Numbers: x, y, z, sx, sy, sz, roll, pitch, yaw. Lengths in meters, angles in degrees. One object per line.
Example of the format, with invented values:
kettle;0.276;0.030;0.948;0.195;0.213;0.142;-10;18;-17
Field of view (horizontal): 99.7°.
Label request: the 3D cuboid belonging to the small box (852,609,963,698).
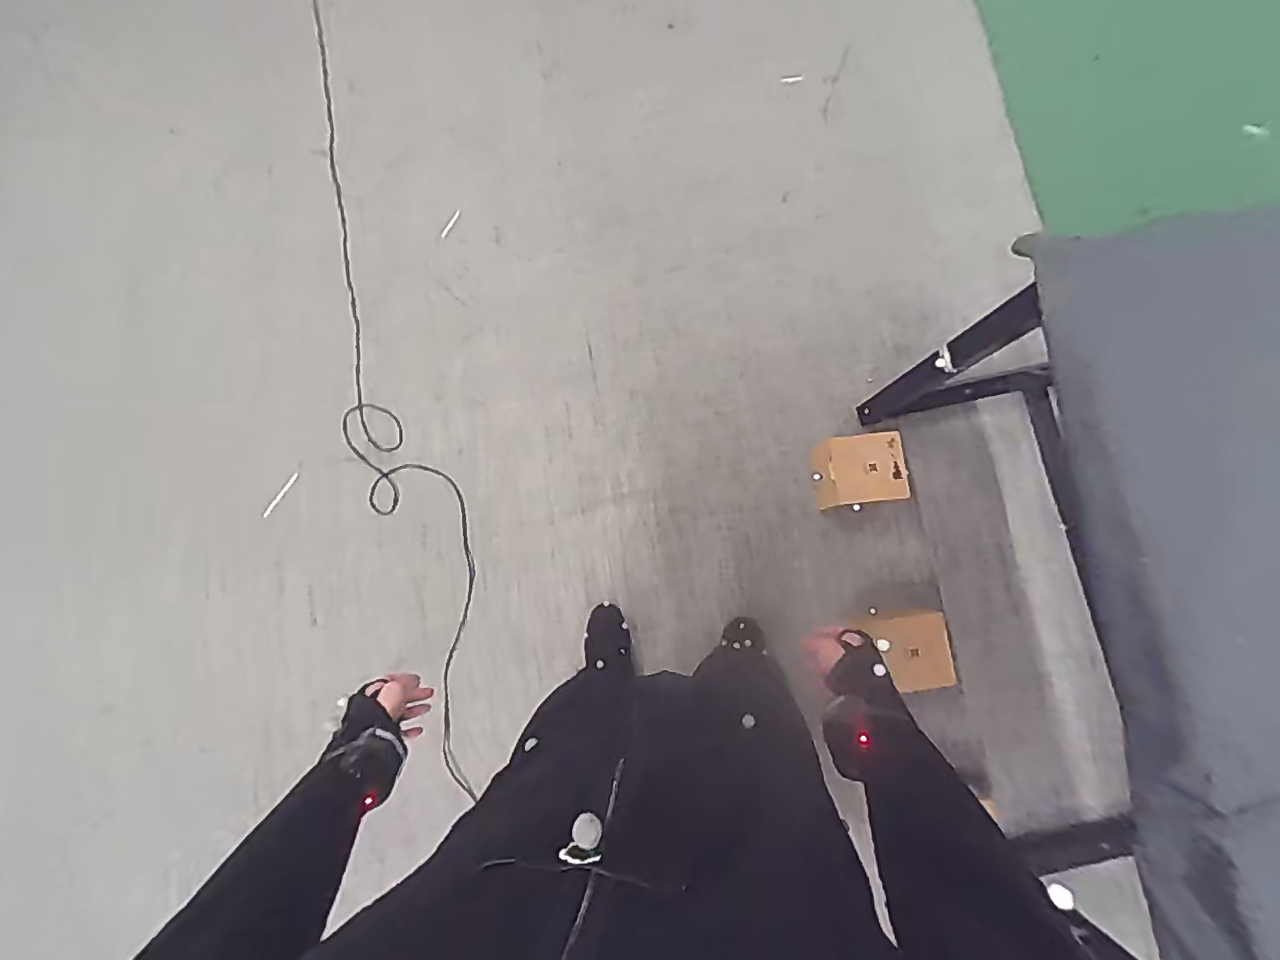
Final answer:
small box;0.628;0.410;1.297;0.179;0.176;0.168;-8;82;-2
